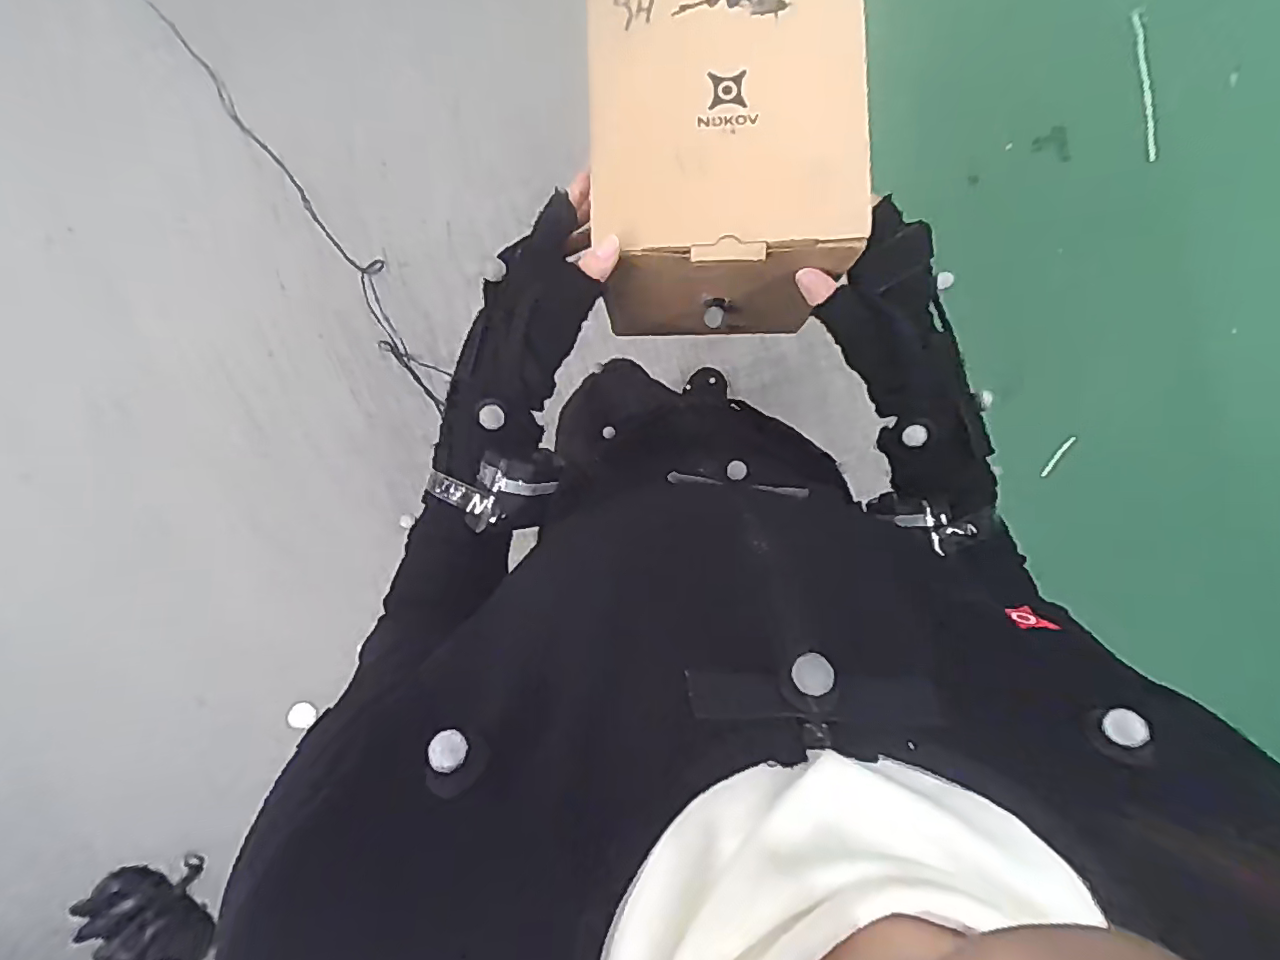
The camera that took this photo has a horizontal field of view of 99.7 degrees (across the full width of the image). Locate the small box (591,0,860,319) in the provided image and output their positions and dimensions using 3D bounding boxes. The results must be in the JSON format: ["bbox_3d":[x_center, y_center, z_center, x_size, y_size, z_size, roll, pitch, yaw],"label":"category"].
[{"bbox_3d":[0.055,-0.229,0.411,0.168,0.176,0.179,-1,89,2],"label":"small box"}]
